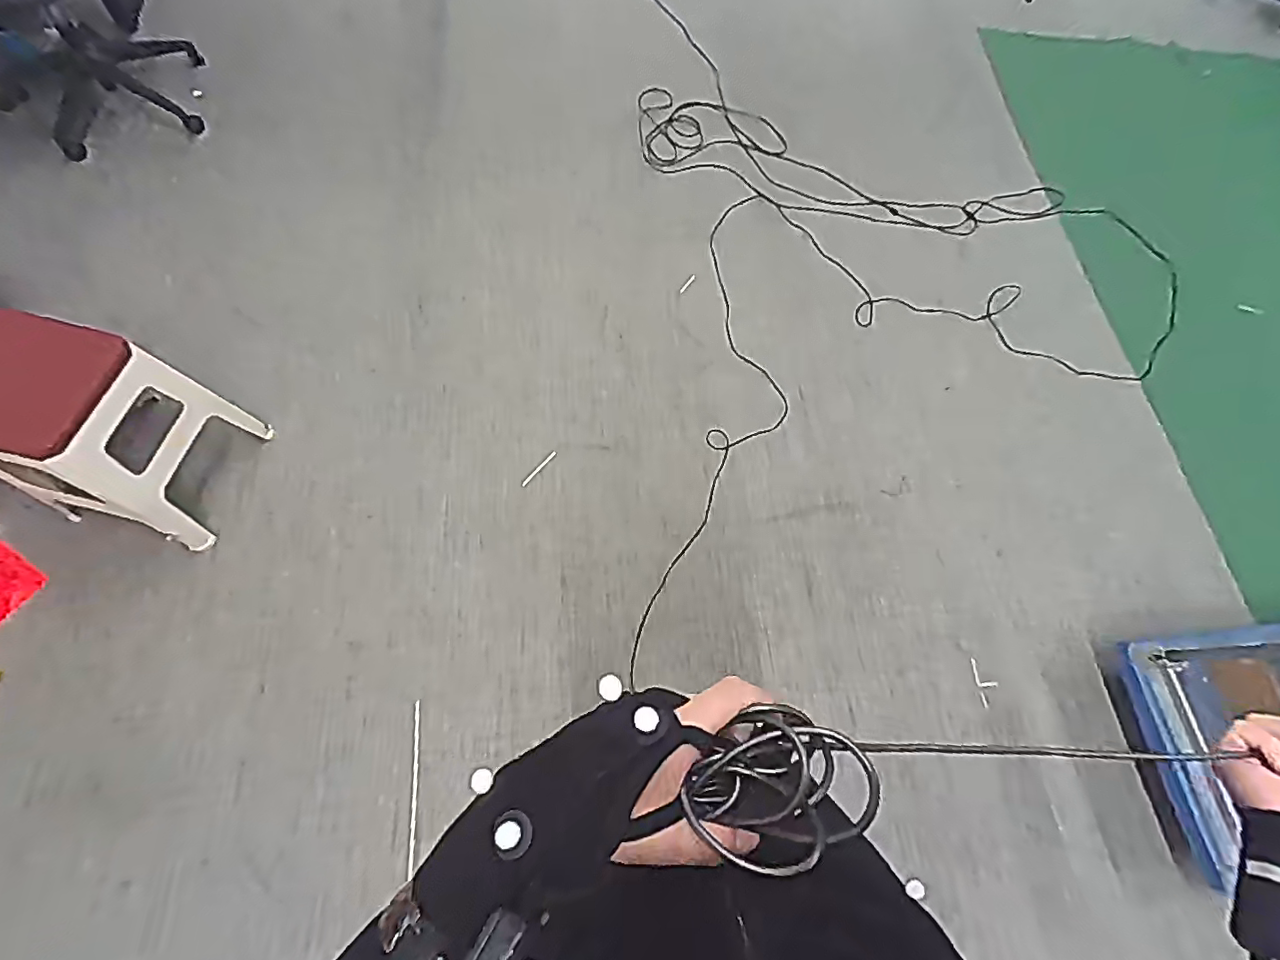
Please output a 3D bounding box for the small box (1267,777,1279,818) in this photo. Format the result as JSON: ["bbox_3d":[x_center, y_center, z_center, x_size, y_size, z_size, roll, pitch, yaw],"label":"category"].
[{"bbox_3d":[1.639,0.783,1.243,0.179,0.176,0.168,-2,68,-6],"label":"small box"}]
